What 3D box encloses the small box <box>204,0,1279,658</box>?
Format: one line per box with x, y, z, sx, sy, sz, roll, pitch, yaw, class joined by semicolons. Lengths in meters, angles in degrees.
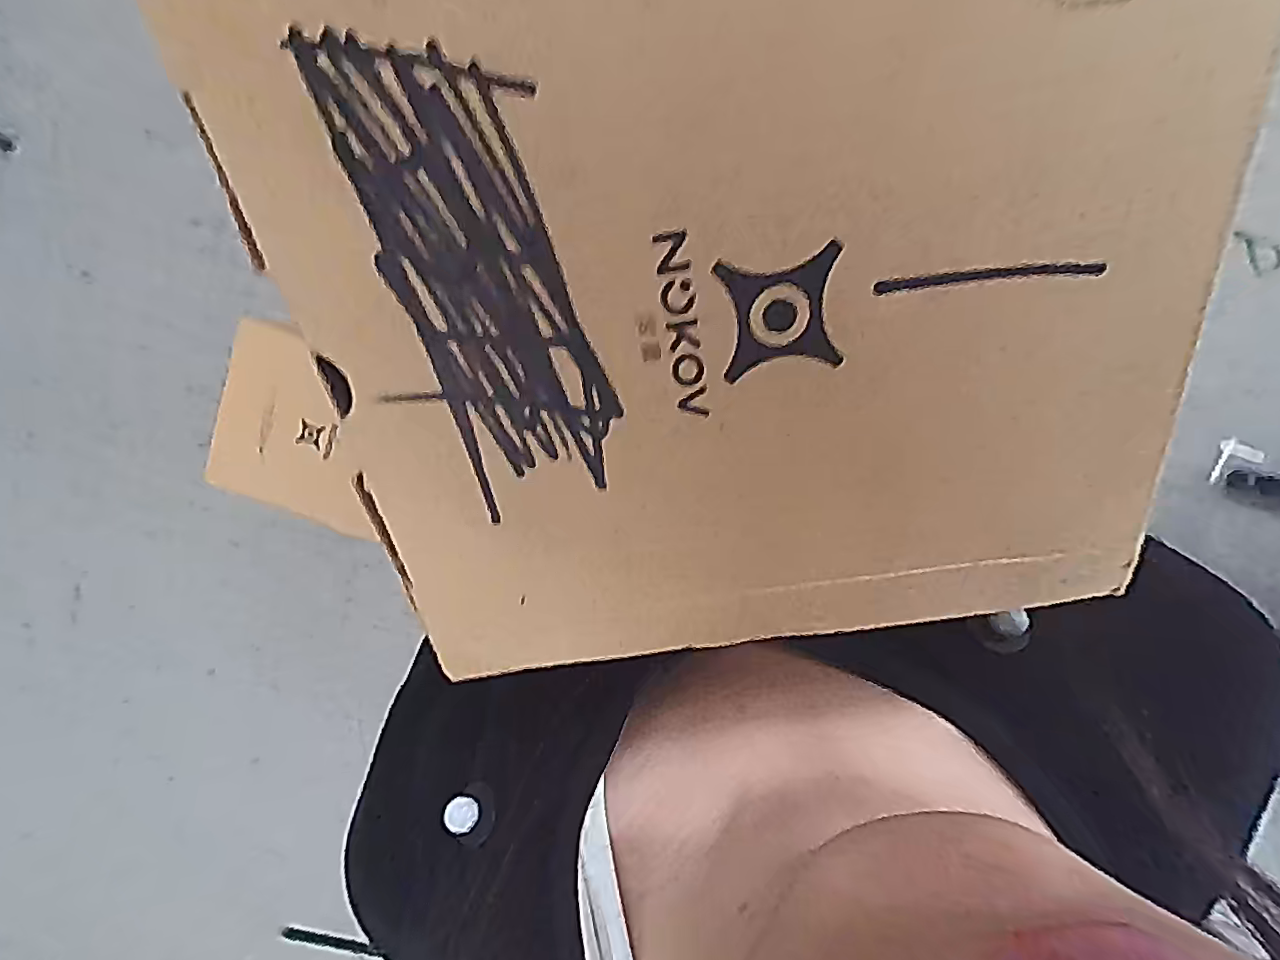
0.027;-0.070;0.177;0.179;0.176;0.168;-8;117;5;small box

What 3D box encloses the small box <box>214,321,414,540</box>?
-0.299;-0.059;0.585;0.179;0.176;0.168;20;100;-5;small box
